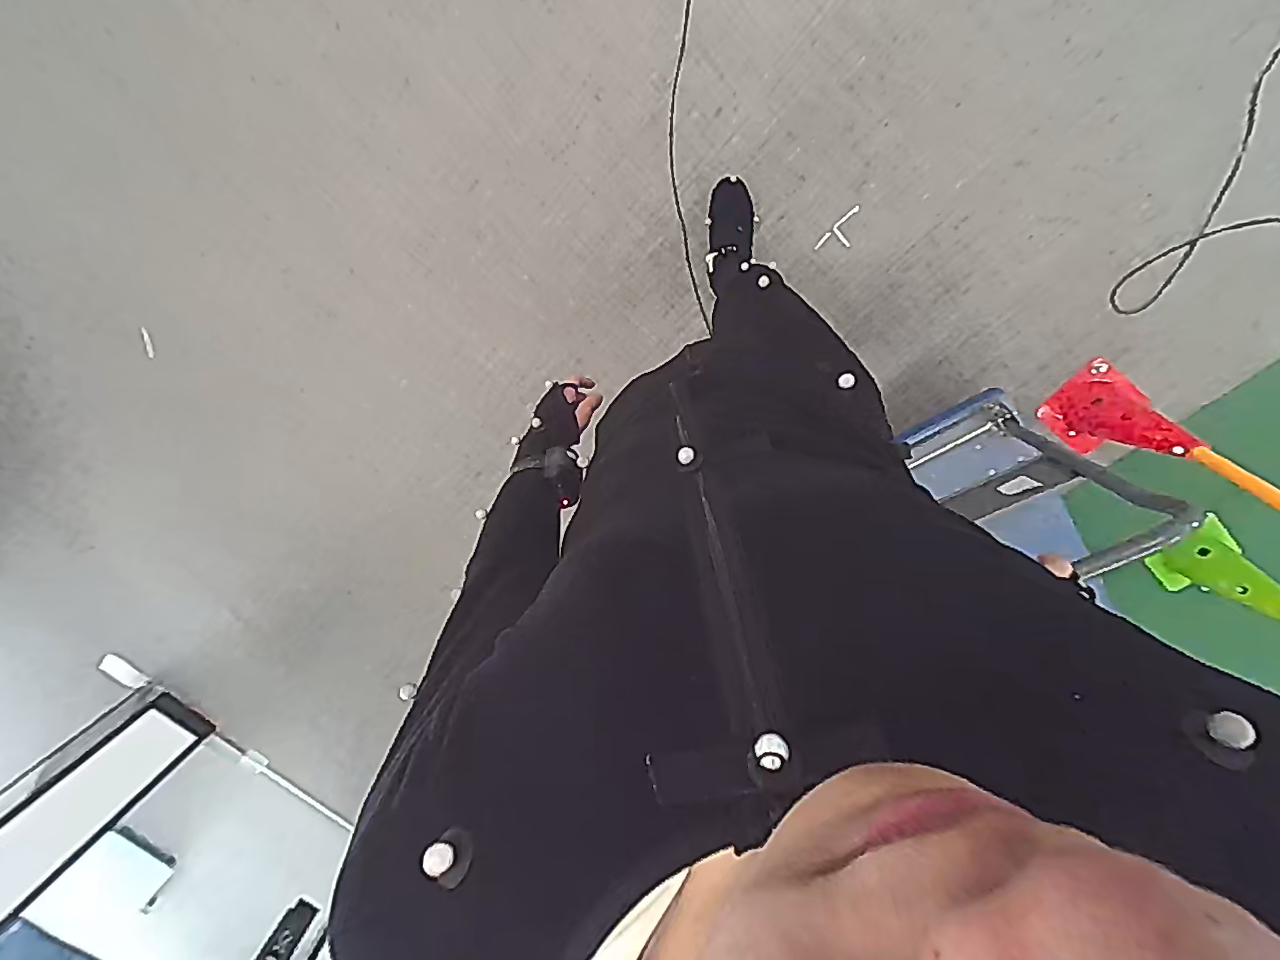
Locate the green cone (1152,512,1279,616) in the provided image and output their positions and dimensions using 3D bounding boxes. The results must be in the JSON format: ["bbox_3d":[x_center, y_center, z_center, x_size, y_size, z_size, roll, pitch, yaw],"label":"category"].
[{"bbox_3d":[1.540,0.268,1.339,0.202,0.368,0.200,43,111,-11],"label":"green cone"}]
